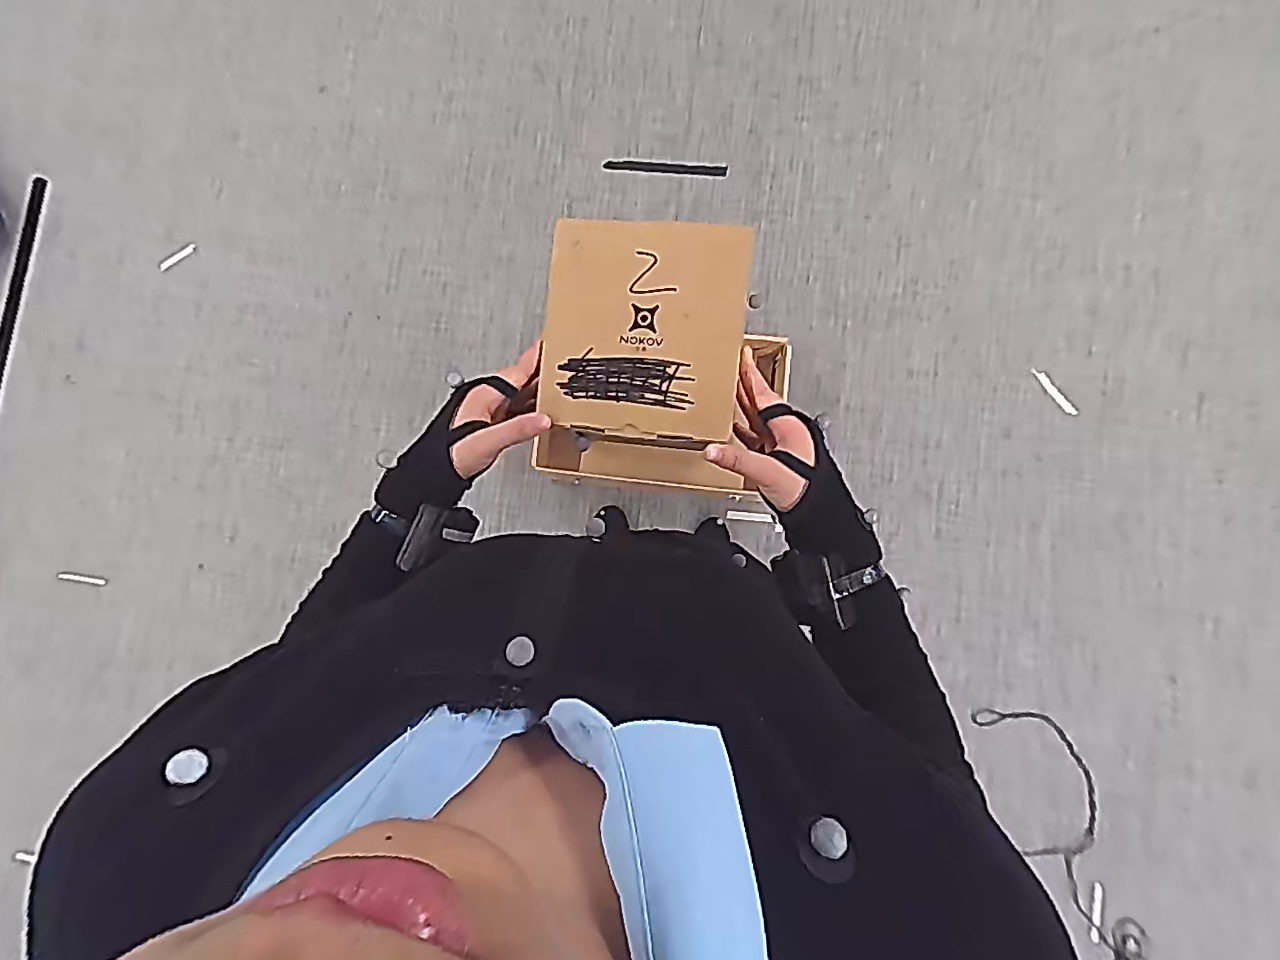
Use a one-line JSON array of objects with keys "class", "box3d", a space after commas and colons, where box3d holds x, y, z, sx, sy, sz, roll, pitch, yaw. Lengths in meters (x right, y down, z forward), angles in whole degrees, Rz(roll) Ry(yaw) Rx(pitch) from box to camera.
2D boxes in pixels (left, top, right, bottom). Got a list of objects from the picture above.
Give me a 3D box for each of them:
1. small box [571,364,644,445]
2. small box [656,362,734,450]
[{"class": "small box", "box3d": [-0.078, -0.189, 1.410, 0.168, 0.176, 0.179, 5, 86, 2]}, {"class": "small box", "box3d": [0.139, -0.185, 1.399, 0.168, 0.176, 0.179, 12, 87, 5]}]
